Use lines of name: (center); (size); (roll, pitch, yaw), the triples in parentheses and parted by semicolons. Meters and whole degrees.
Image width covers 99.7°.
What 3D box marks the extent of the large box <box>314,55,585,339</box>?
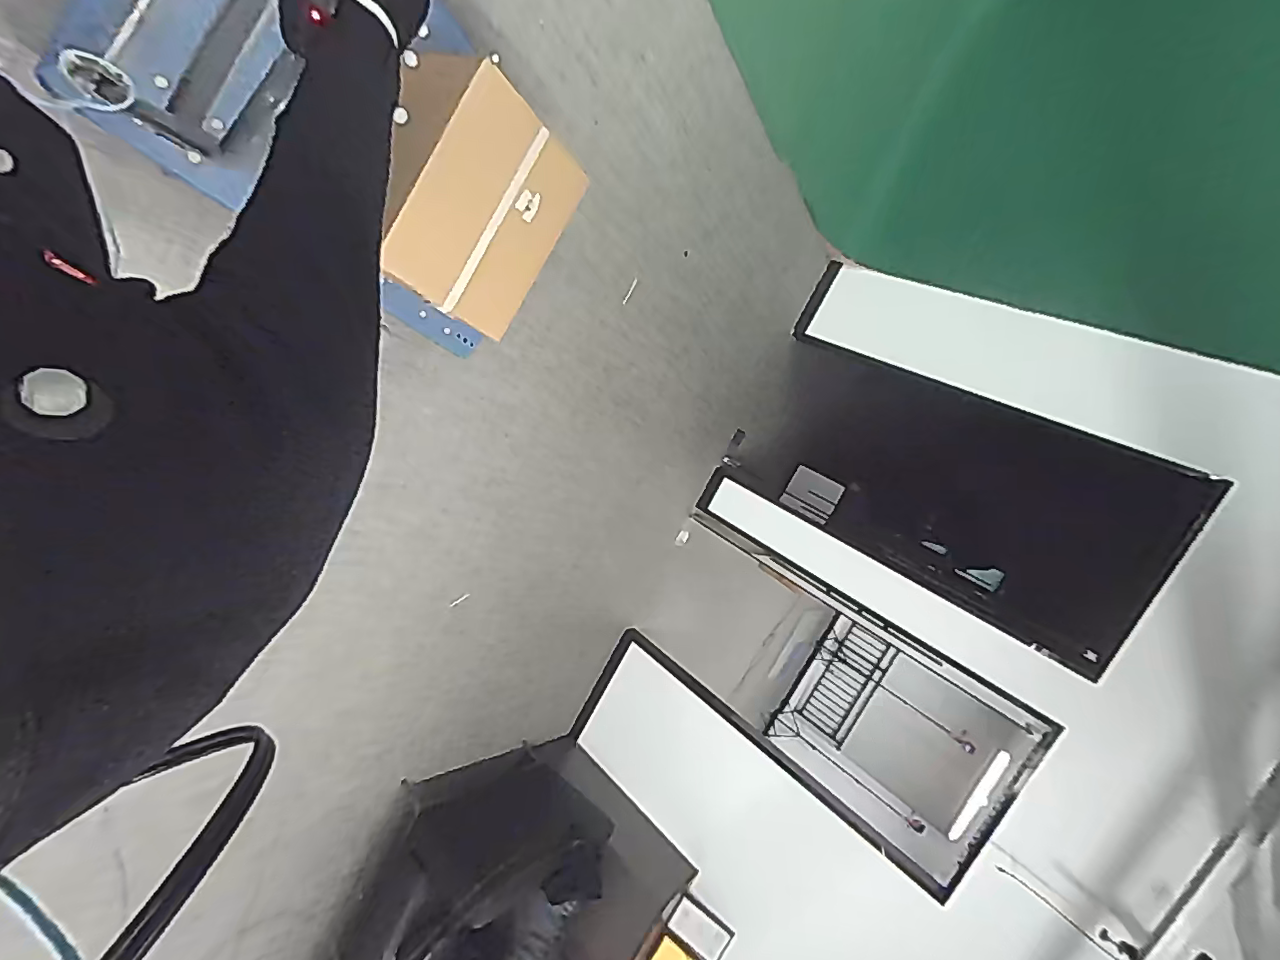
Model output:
large box: (-0.394, -0.577, 1.130); (0.408, 0.320, 0.320); (-60, 148, 3)
